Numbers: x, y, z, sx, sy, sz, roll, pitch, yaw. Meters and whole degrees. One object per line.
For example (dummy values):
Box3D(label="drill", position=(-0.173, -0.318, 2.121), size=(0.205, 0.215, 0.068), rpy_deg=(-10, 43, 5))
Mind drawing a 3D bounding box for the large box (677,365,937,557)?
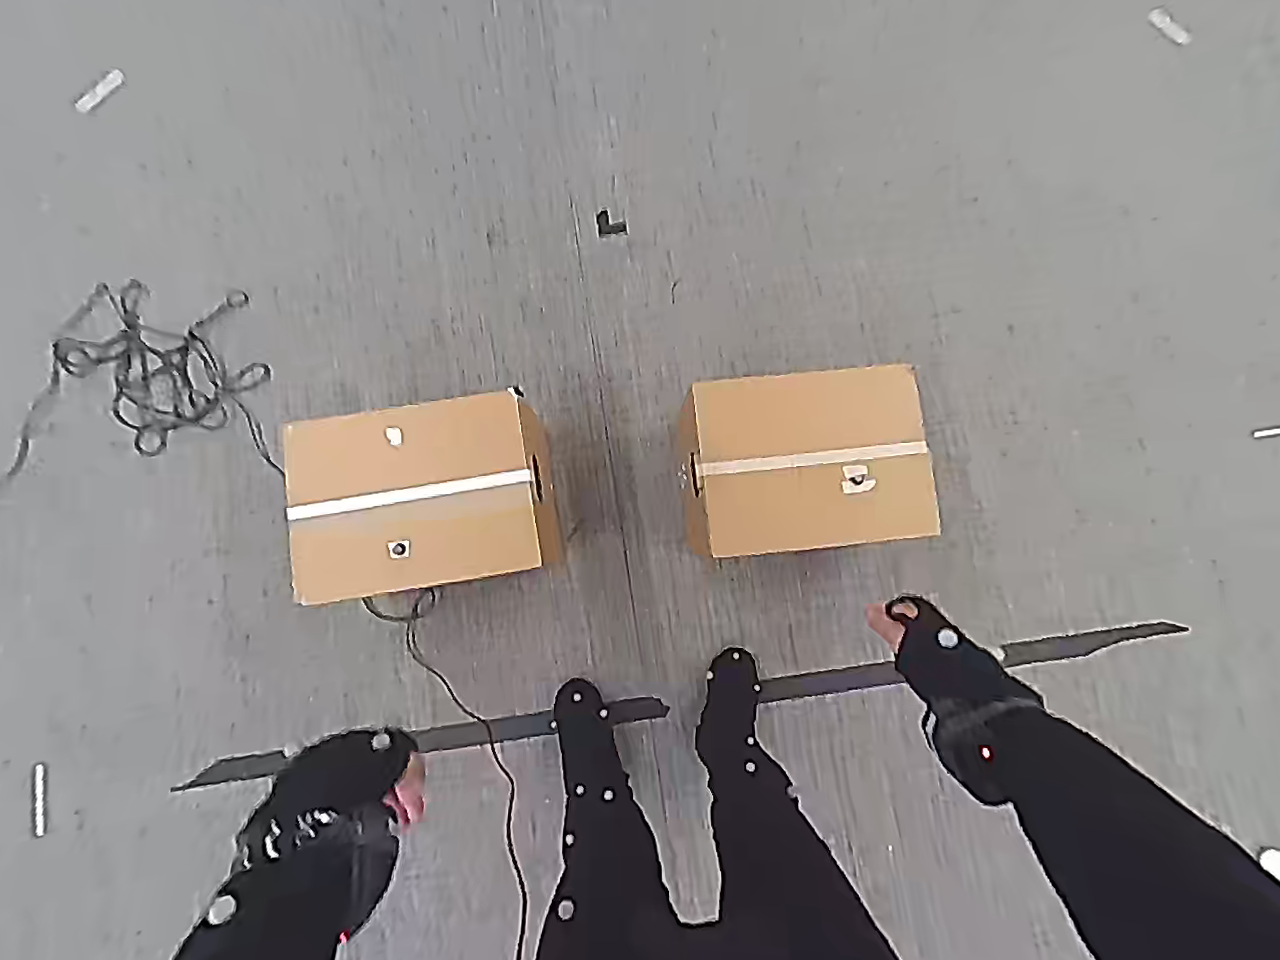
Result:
Box3D(label="large box", position=(0.303, -0.020, 1.102), size=(0.408, 0.320, 0.320), rpy_deg=(-5, 83, -3))
